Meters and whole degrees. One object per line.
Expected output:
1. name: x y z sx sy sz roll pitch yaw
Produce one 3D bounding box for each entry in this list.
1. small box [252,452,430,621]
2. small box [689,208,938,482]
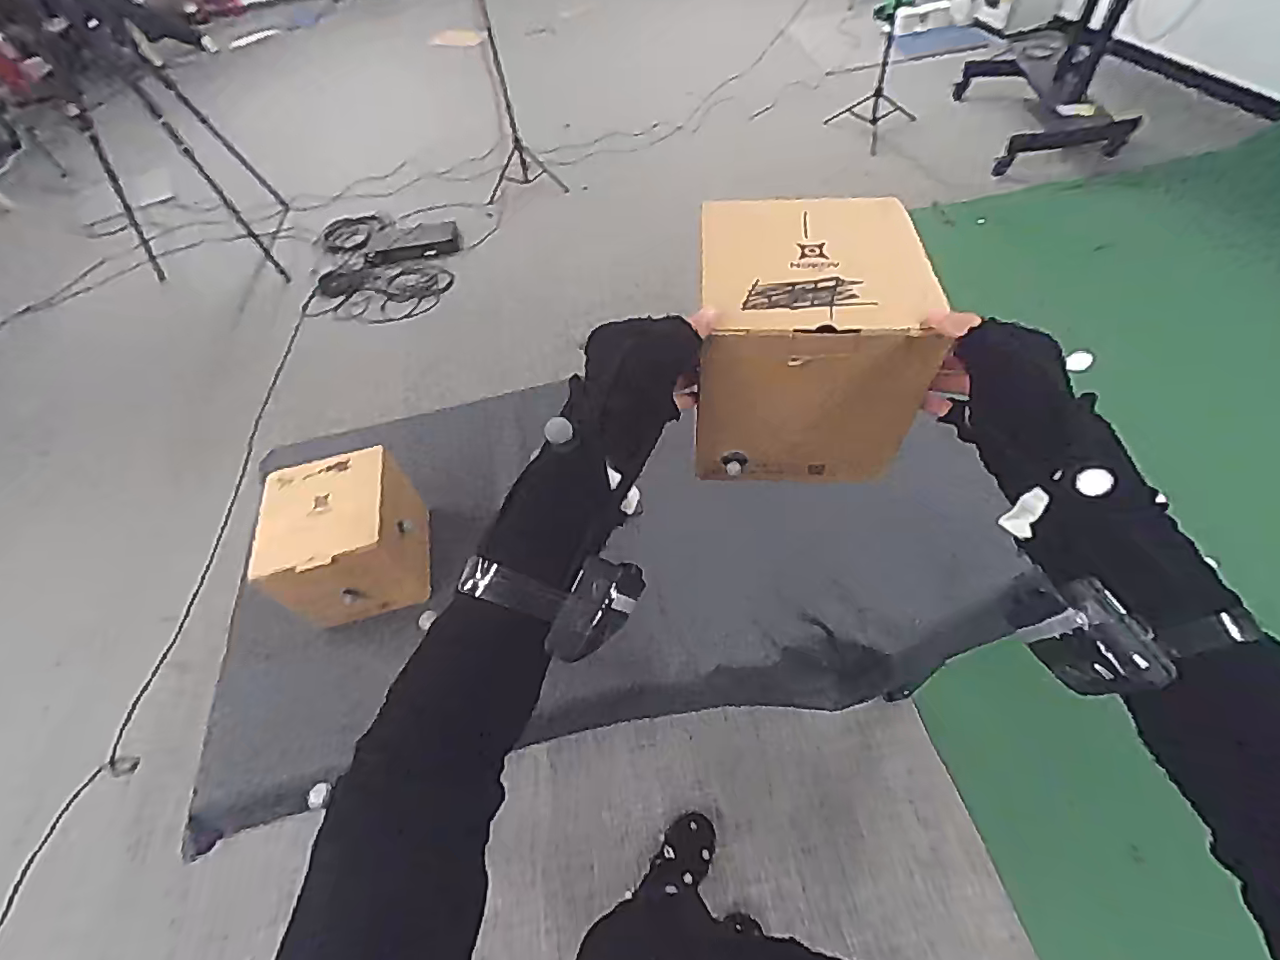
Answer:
1. small box: -0.421 0.091 0.795 0.168 0.176 0.179 -15 54 -4
2. small box: 0.129 -0.113 0.476 0.168 0.176 0.179 2 52 6
